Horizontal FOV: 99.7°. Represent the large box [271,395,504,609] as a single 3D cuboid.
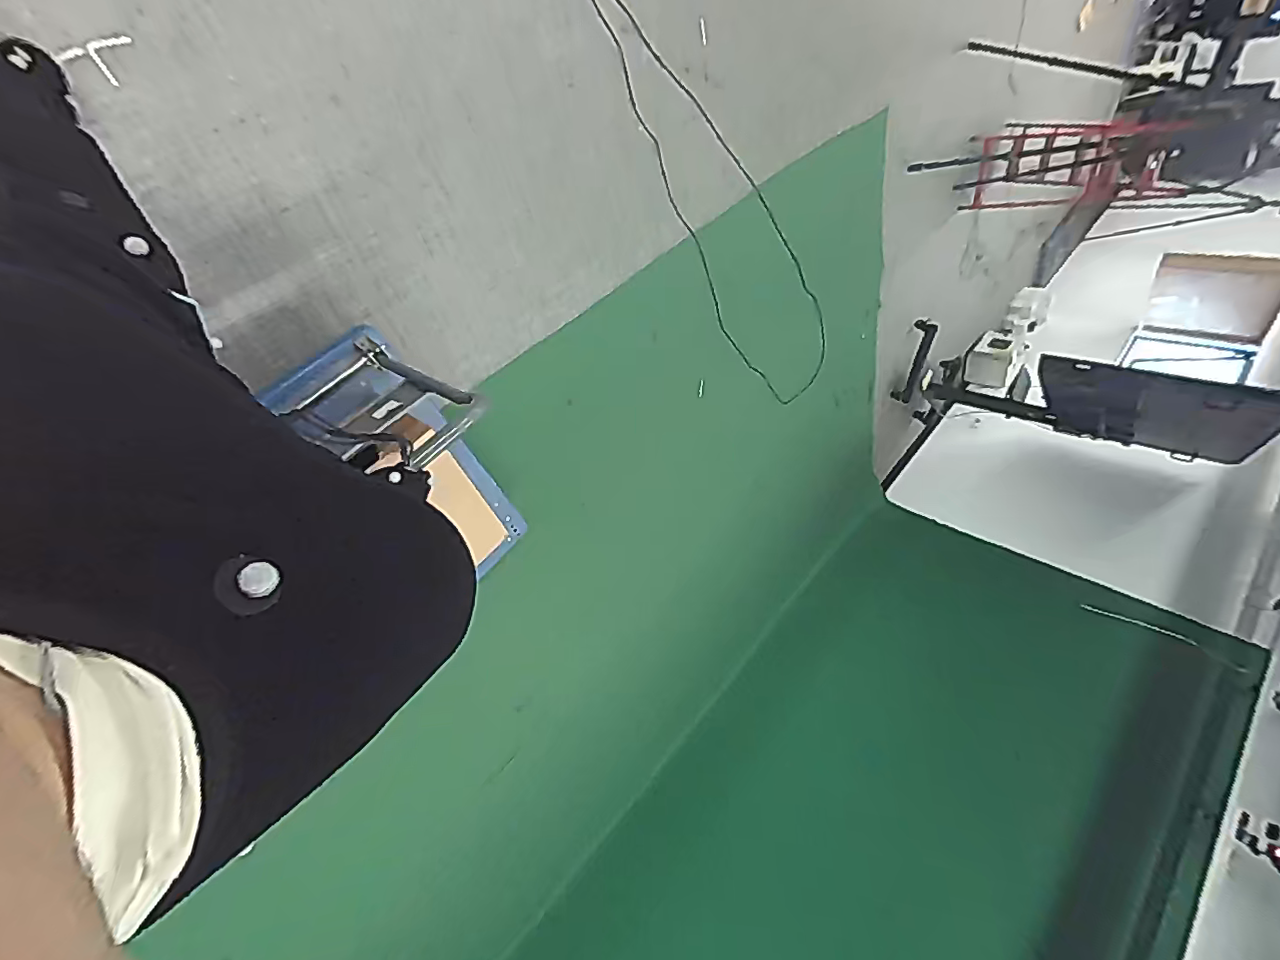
[{"bbox_3d":[-0.638,0.053,1.402,0.320,0.320,0.408,-44,138,-22],"label":"large box"}]
